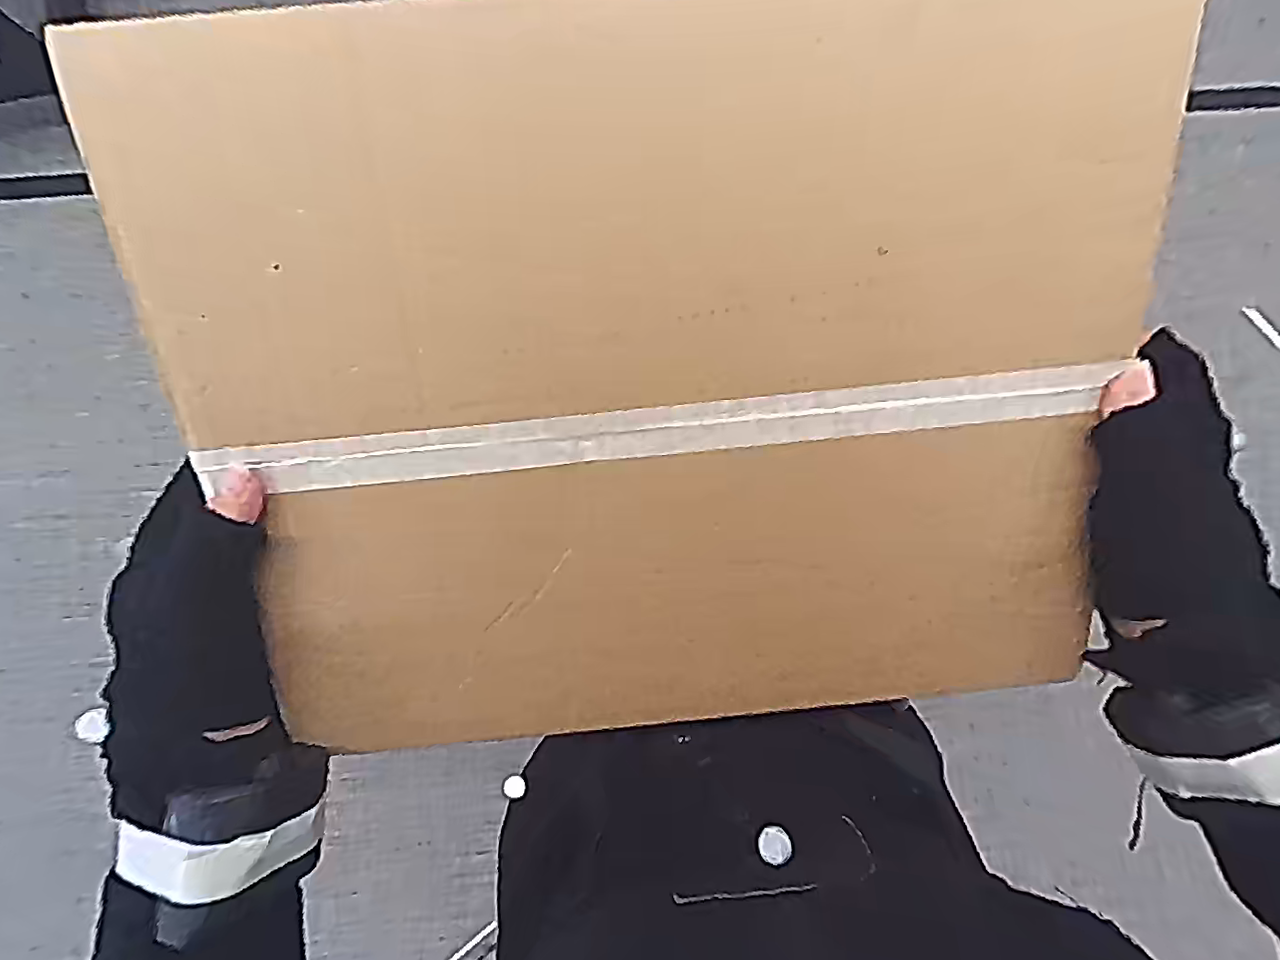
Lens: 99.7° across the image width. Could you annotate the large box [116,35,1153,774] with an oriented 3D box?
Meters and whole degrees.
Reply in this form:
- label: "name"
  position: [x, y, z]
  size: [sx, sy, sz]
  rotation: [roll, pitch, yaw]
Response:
- label: "large box"
  position: [0.008, -0.050, 0.390]
  size: [0.408, 0.320, 0.320]
  rotation: [-5, 107, -1]
